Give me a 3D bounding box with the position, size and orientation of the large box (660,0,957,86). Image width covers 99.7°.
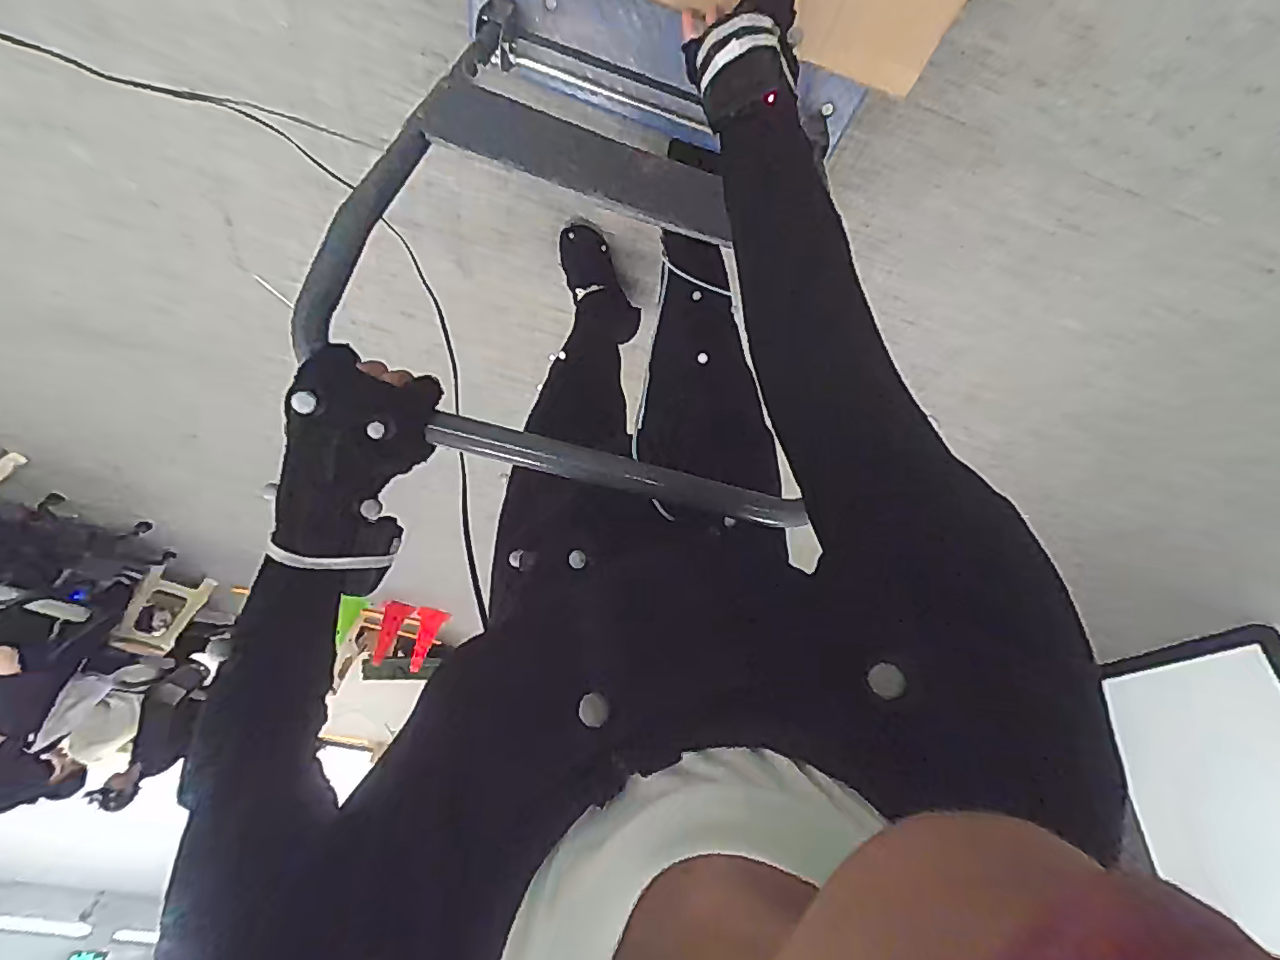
[{"bbox_3d":[0.128,-0.630,0.461,0.408,0.320,0.320,15,145,-8],"label":"large box"}]
